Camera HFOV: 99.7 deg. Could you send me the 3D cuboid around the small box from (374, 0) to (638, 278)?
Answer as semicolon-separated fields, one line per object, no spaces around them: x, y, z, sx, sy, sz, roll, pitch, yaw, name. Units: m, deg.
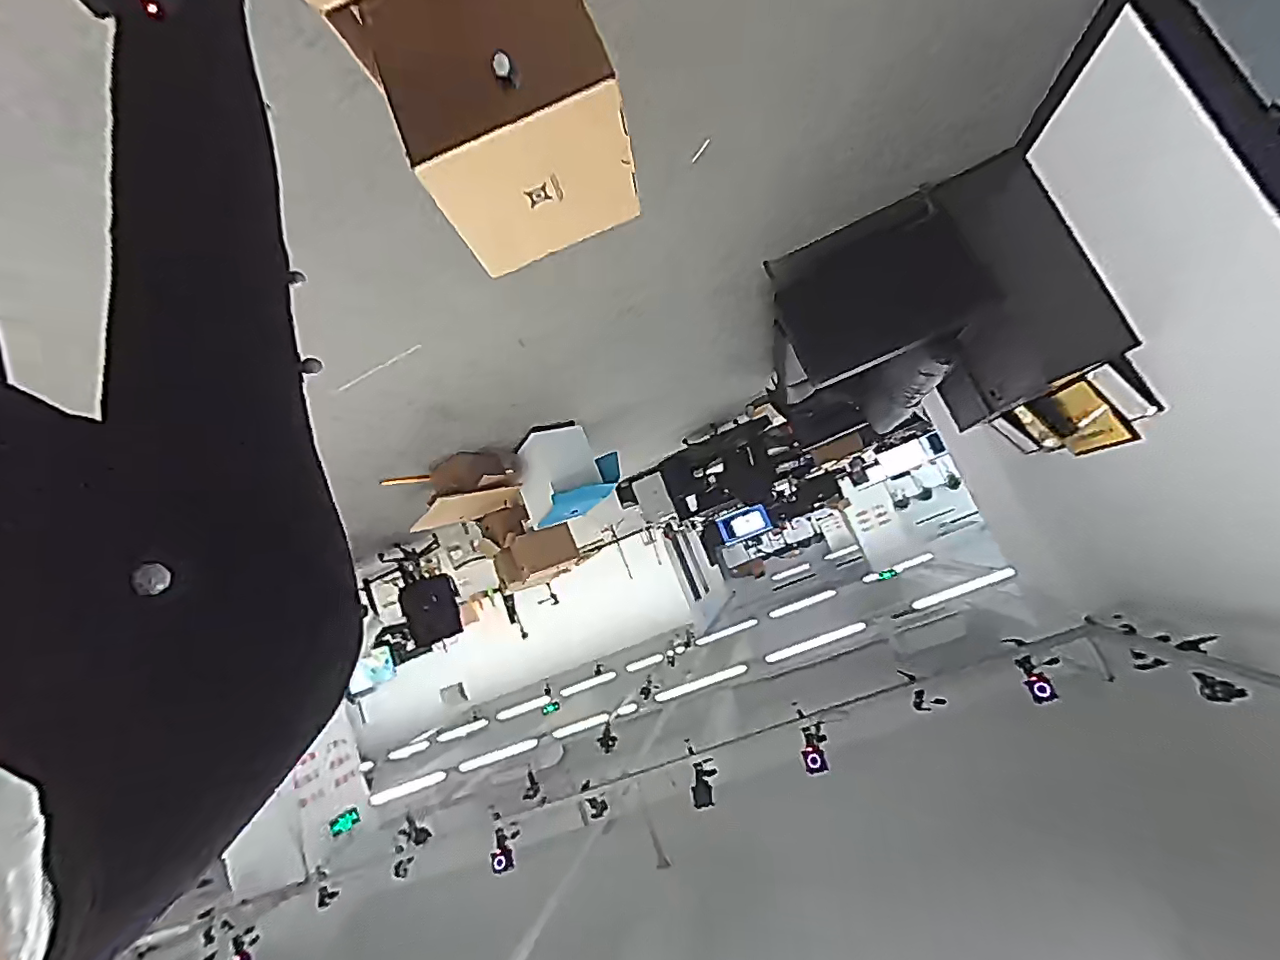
-0.119;-0.331;0.503;0.179;0.176;0.168;-23;169;4;small box
